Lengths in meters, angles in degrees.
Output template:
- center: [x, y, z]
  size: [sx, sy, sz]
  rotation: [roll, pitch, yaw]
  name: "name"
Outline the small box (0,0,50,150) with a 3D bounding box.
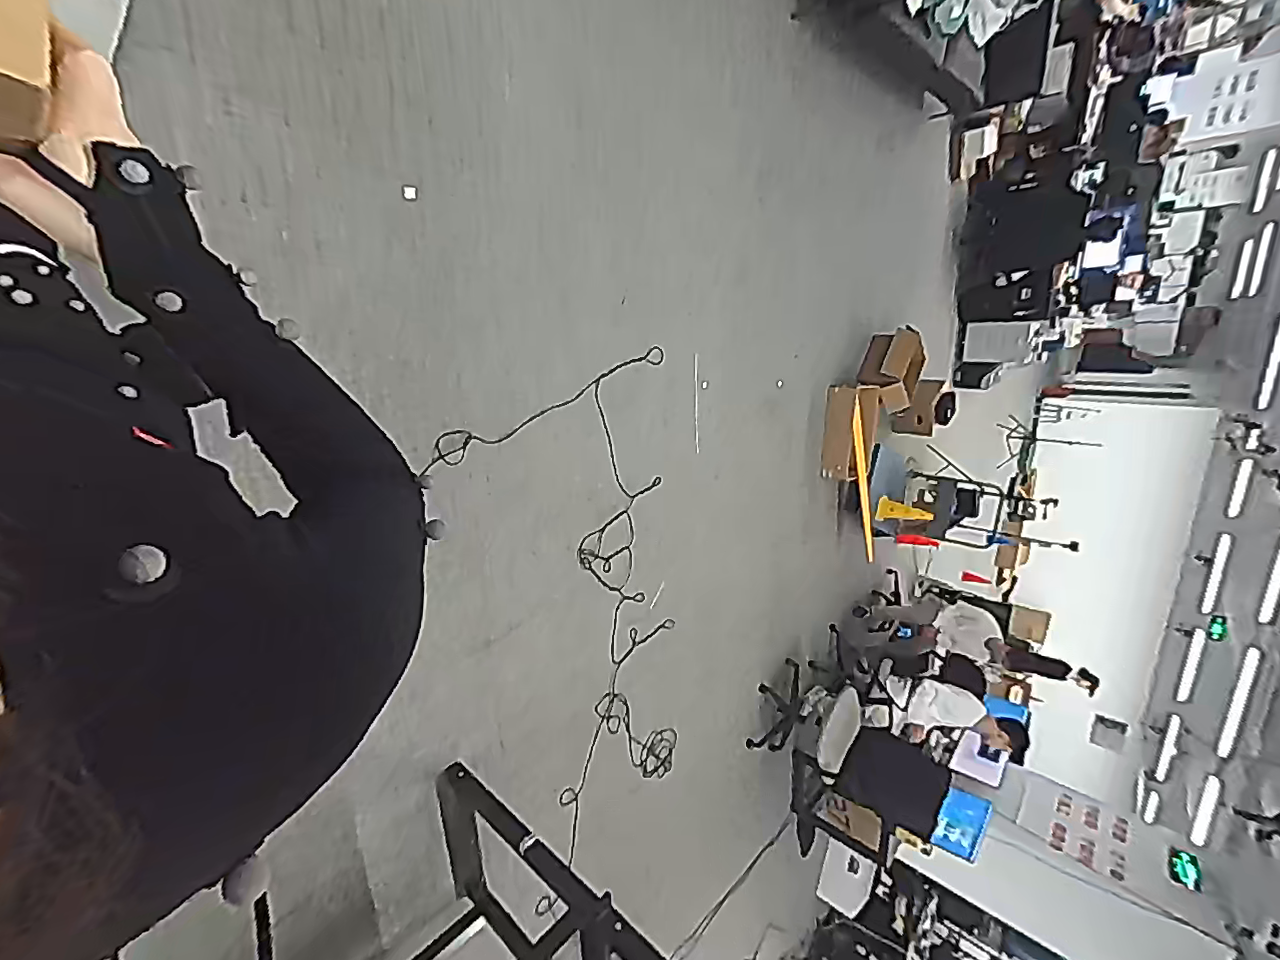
- center: [-0.375, -0.278, 0.230]
  size: [0.168, 0.176, 0.179]
  rotation: [-1, 99, -51]
  name: "small box"
